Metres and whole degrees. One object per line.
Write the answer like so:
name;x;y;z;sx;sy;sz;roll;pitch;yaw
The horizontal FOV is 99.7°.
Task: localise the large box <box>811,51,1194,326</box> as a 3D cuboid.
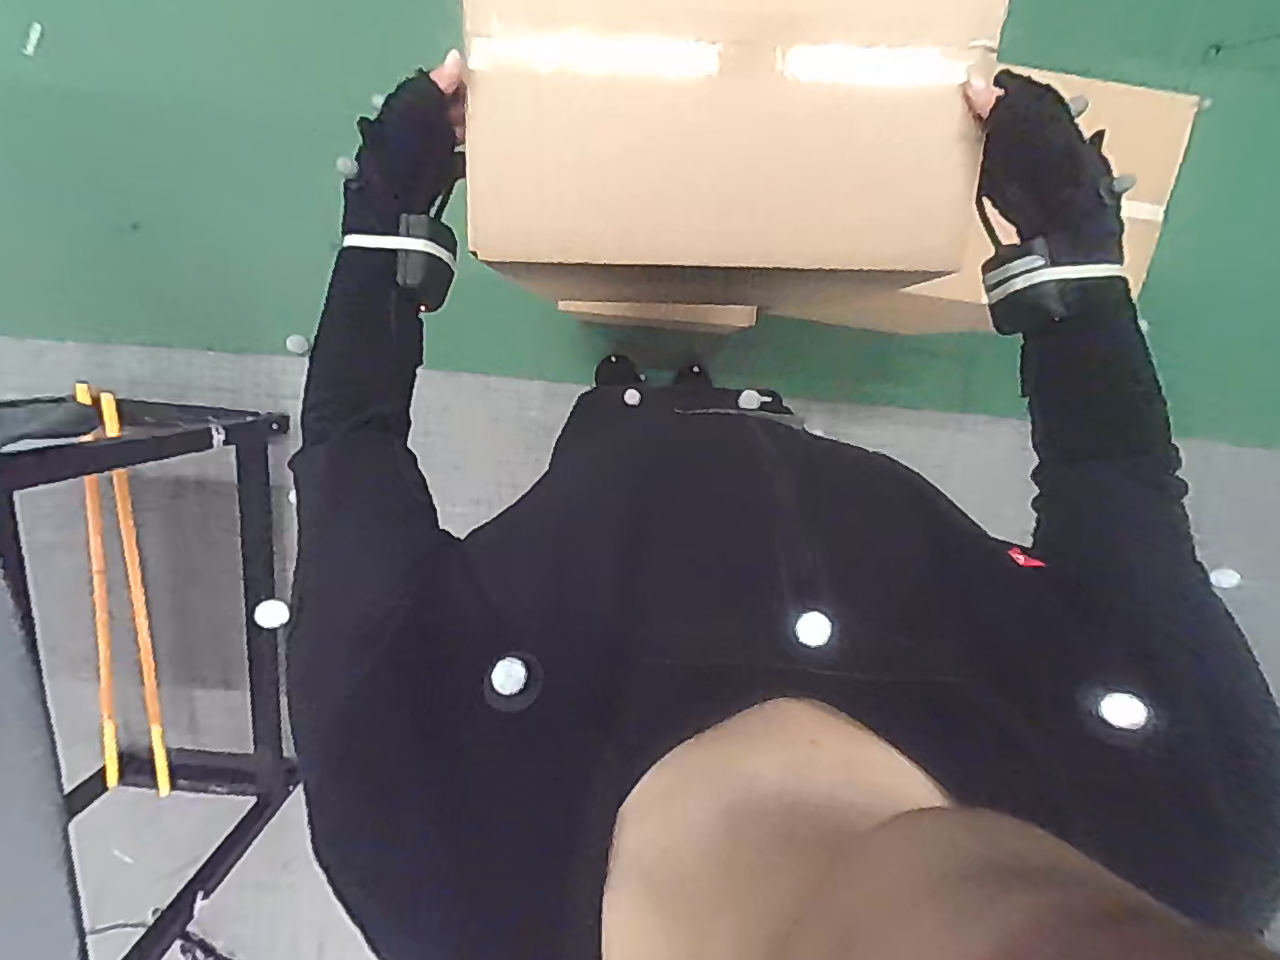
large box;0.555;-0.450;0.921;0.408;0.320;0.320;7;104;-3
